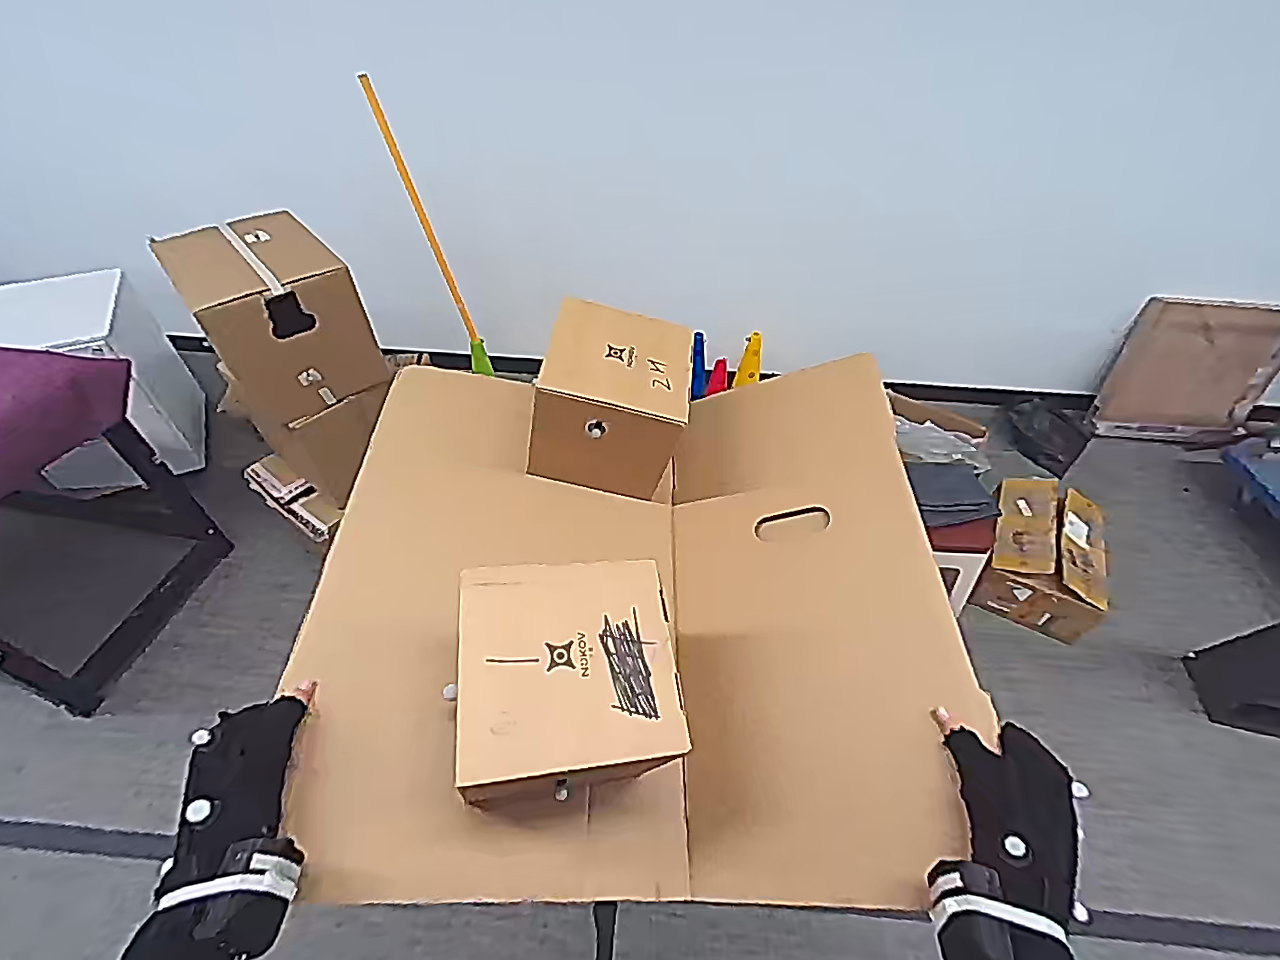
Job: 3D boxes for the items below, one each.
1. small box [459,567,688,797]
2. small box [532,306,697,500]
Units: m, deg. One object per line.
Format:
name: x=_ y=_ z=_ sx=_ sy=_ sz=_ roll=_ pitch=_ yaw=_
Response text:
small box: x=-0.073 y=0.192 z=0.511 sx=0.179 sy=0.176 sz=0.168 roll=0 pitch=57 yaw=-15
small box: x=-0.038 y=-0.094 z=0.715 sx=0.179 sy=0.176 sz=0.168 roll=14 pitch=54 yaw=-7
